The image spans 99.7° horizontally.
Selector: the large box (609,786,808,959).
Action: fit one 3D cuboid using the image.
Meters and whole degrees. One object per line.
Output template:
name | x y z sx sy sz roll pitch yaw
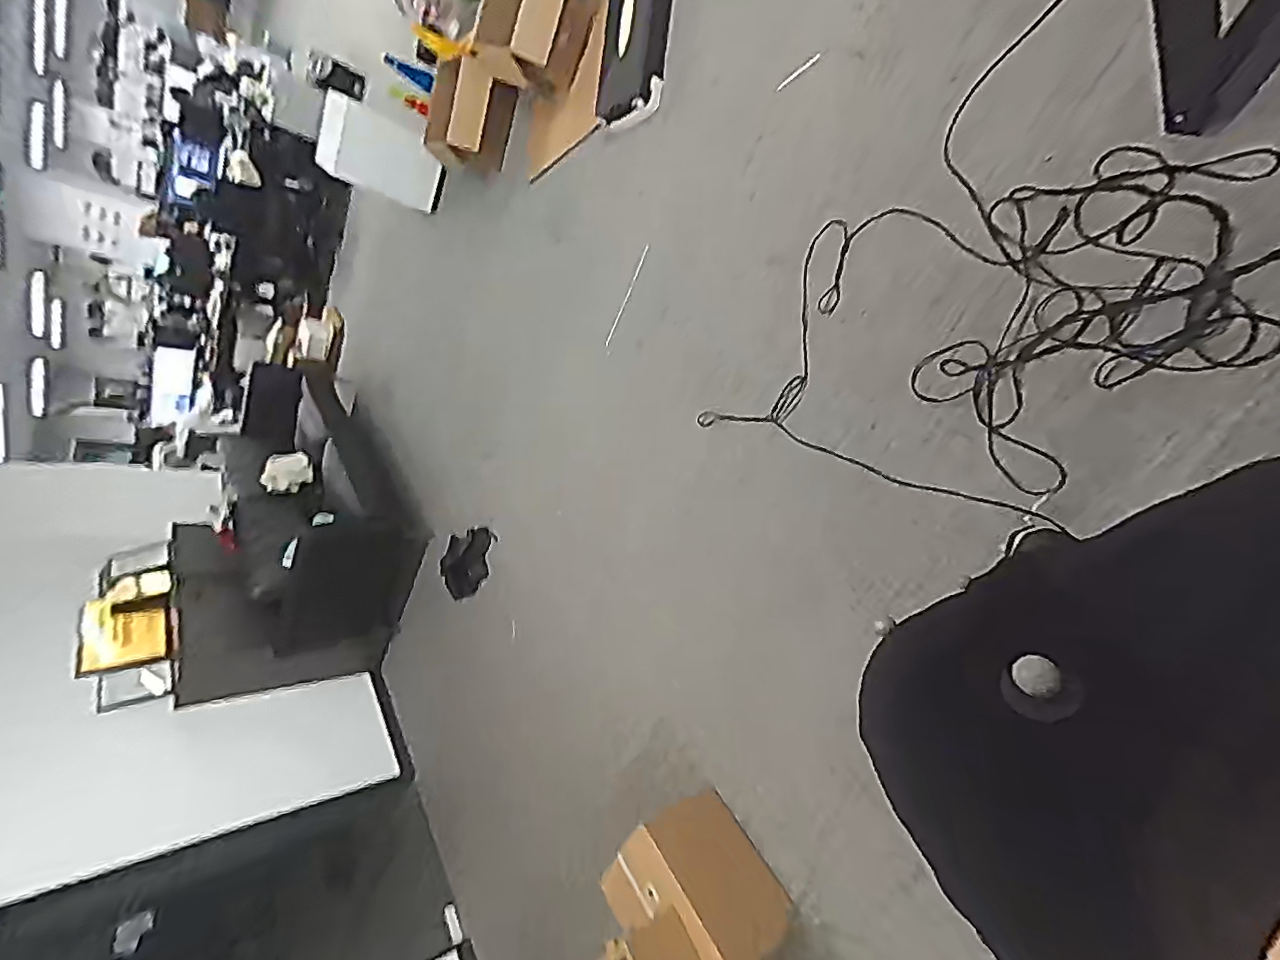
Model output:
large box | 0.185 1.186 1.539 0.408 0.320 0.320 46 118 39
